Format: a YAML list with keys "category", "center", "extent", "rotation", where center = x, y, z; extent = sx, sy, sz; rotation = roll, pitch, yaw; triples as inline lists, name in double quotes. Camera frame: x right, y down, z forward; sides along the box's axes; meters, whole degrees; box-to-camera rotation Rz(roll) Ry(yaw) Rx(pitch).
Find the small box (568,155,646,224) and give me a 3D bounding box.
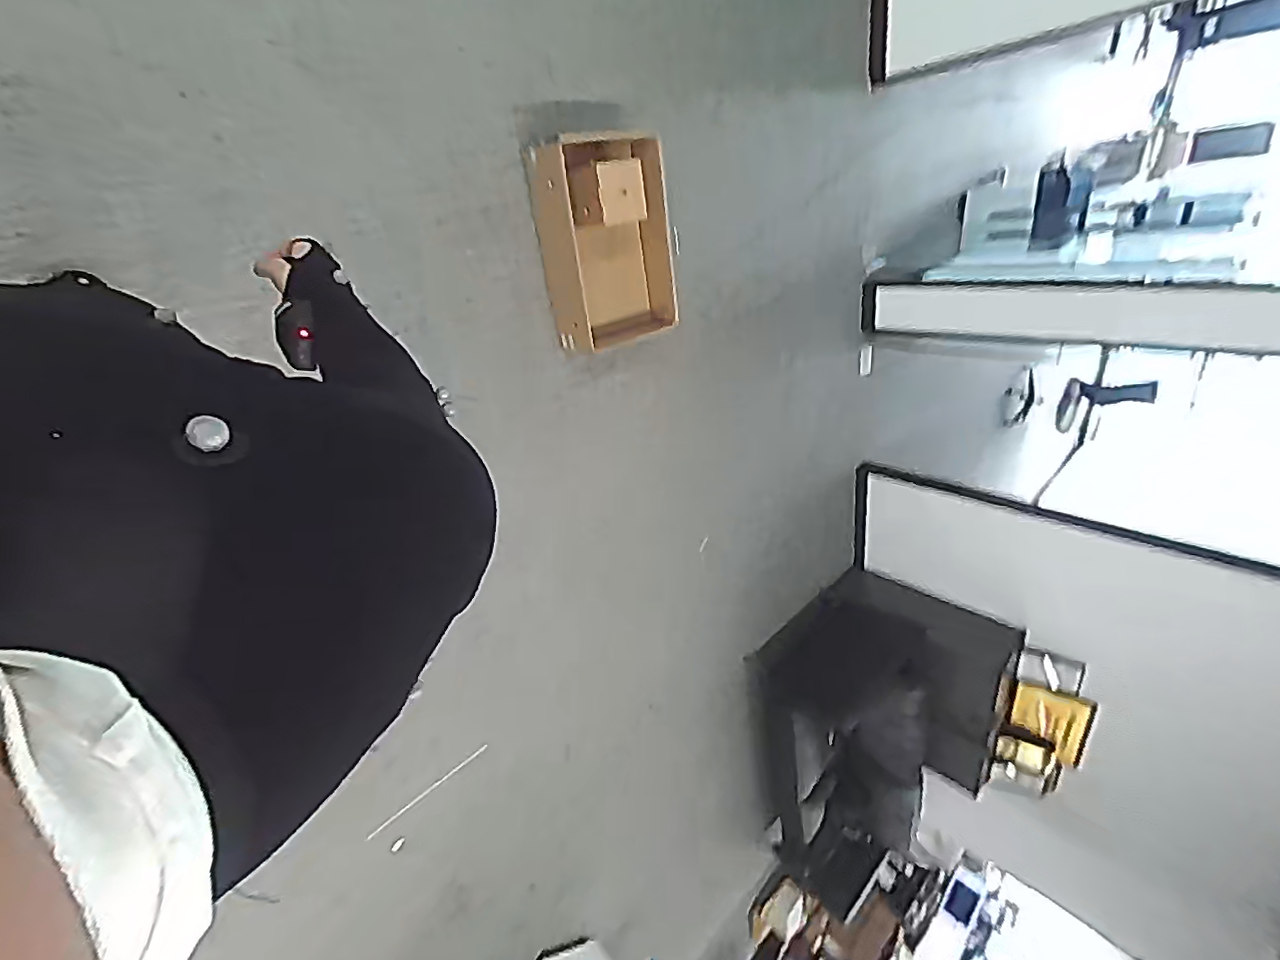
- category: "small box"
  center: [-0.108, -0.904, 1.688]
  extent: [0.179, 0.176, 0.168]
  rotation: [-29, 125, -33]
